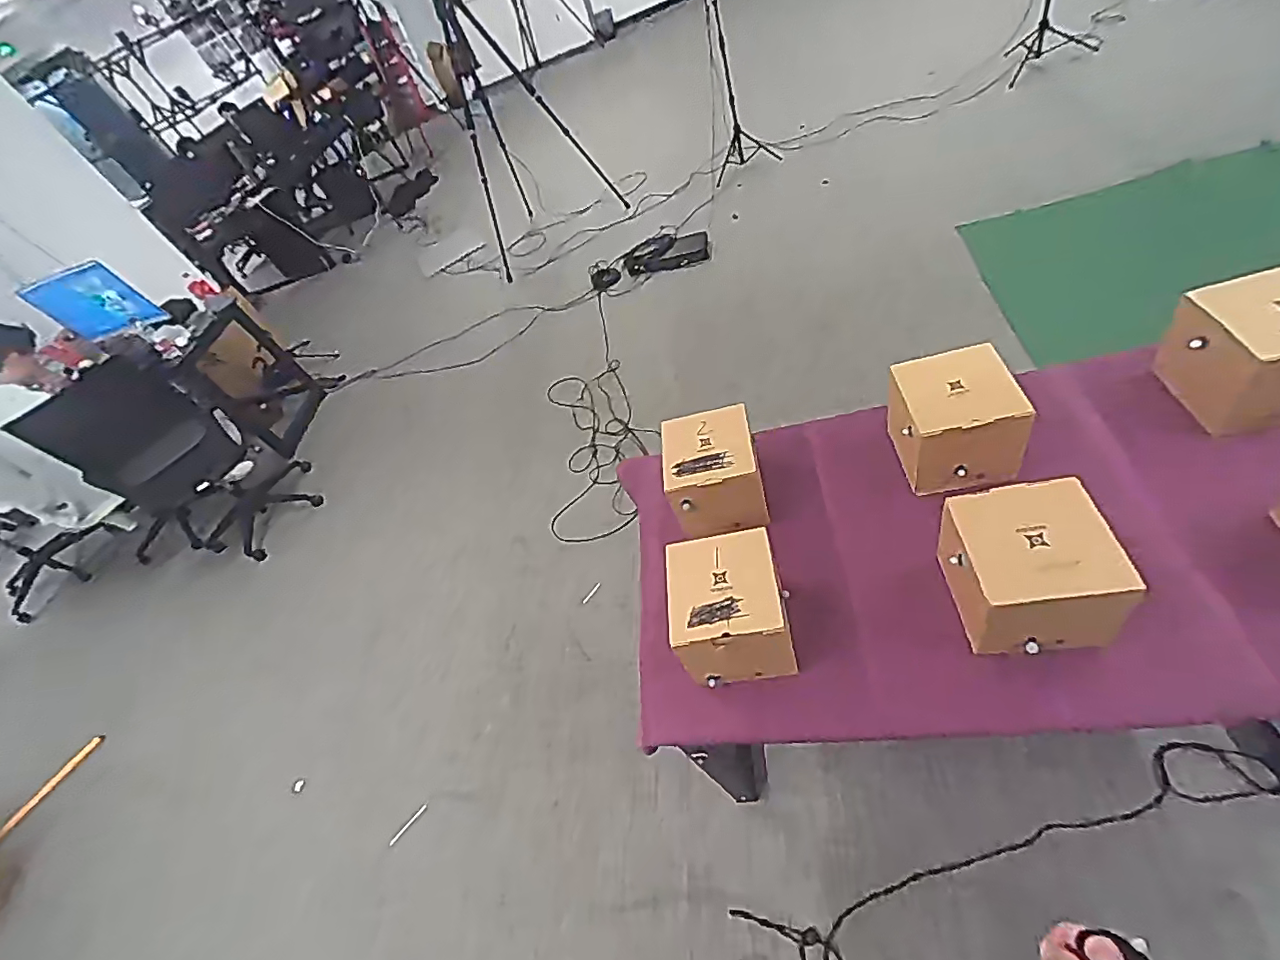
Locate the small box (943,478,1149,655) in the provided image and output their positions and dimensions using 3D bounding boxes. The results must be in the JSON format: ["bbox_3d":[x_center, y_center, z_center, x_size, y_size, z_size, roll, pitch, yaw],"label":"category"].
[{"bbox_3d":[0.542,0.125,0.756,0.168,0.176,0.179,-10,48,16],"label":"small box"}]

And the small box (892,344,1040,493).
[{"bbox_3d":[0.552,-0.104,0.946,0.168,0.176,0.179,-12,50,14],"label":"small box"}]

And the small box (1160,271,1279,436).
[{"bbox_3d":[0.970,-0.197,0.837,0.168,0.176,0.179,-13,49,17],"label":"small box"}]

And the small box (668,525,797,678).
[{"bbox_3d":[0.147,0.201,0.858,0.168,0.176,0.179,-12,47,13],"label":"small box"}]
